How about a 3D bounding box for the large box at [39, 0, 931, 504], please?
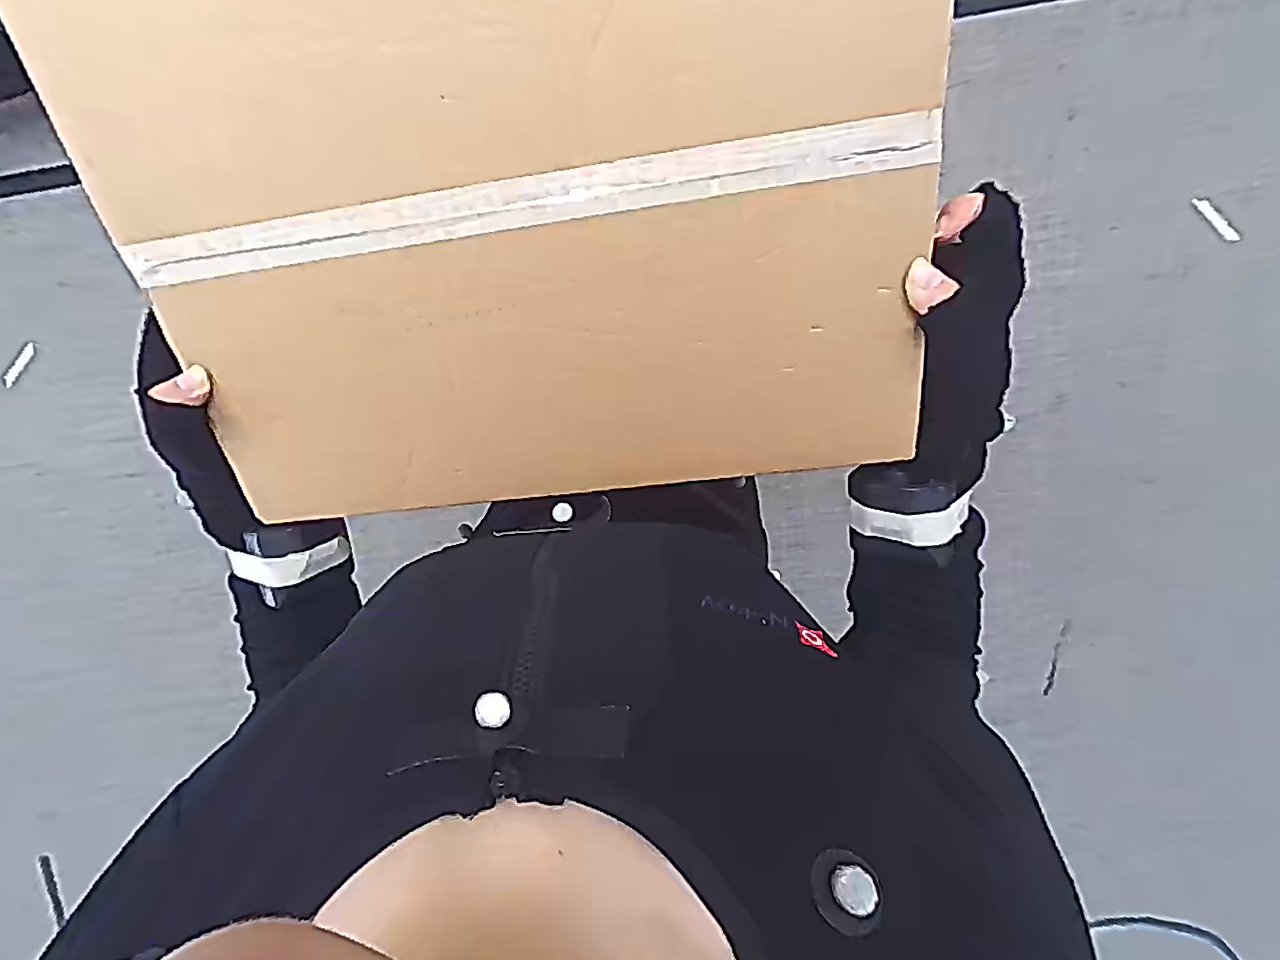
[{"bbox_3d":[-0.059,-0.205,0.407,0.408,0.320,0.320,-6,116,6],"label":"large box"}]
